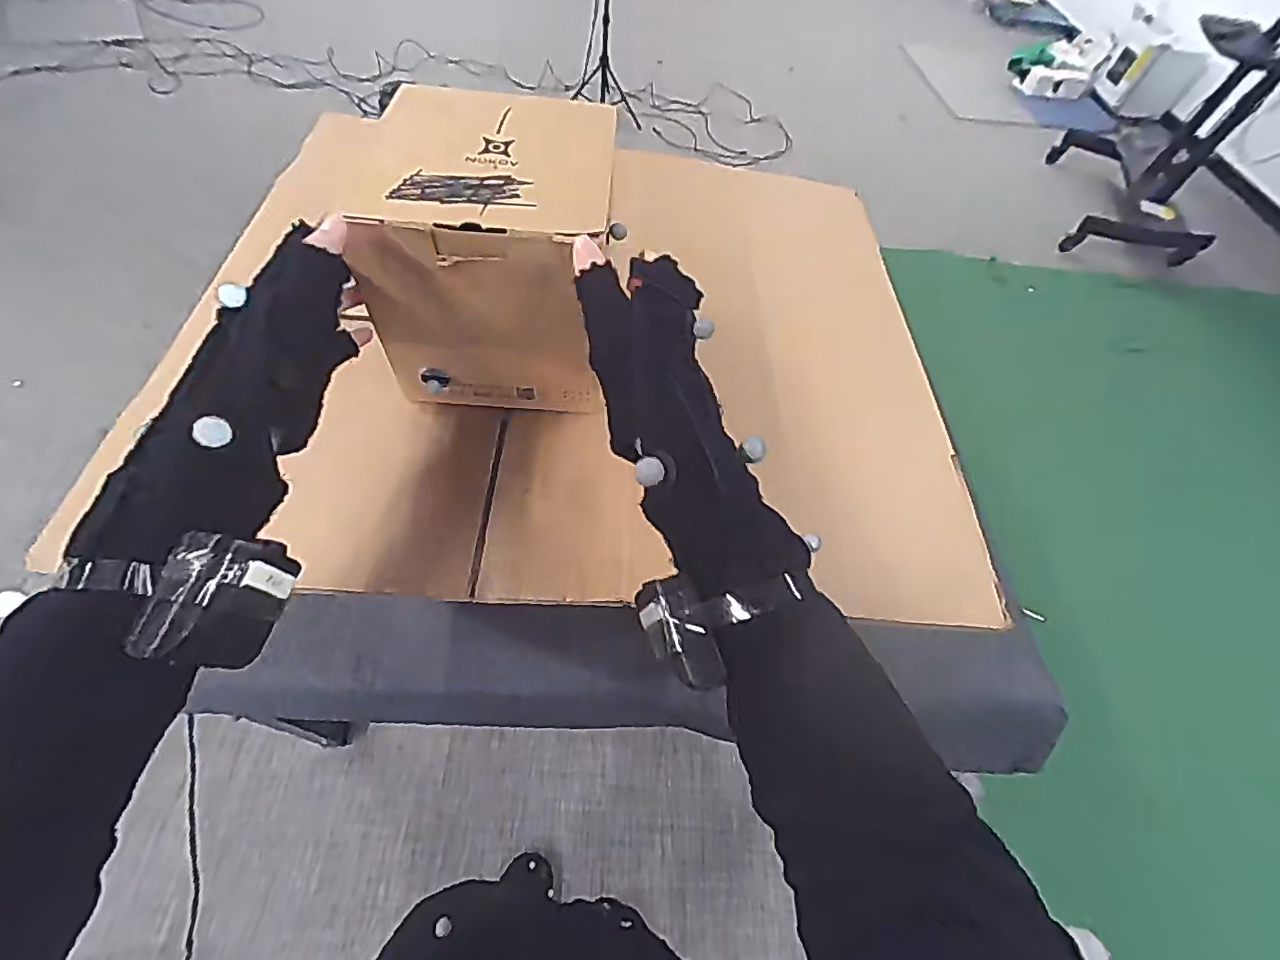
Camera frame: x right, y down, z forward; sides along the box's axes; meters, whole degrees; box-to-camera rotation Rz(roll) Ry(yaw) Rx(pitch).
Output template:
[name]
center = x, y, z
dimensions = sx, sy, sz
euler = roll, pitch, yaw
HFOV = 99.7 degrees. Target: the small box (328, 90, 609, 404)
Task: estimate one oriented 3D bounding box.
[small box]
center = -0.112, -0.180, 0.442
dimensions = 0.168, 0.176, 0.179
euler = 3, 57, -3
